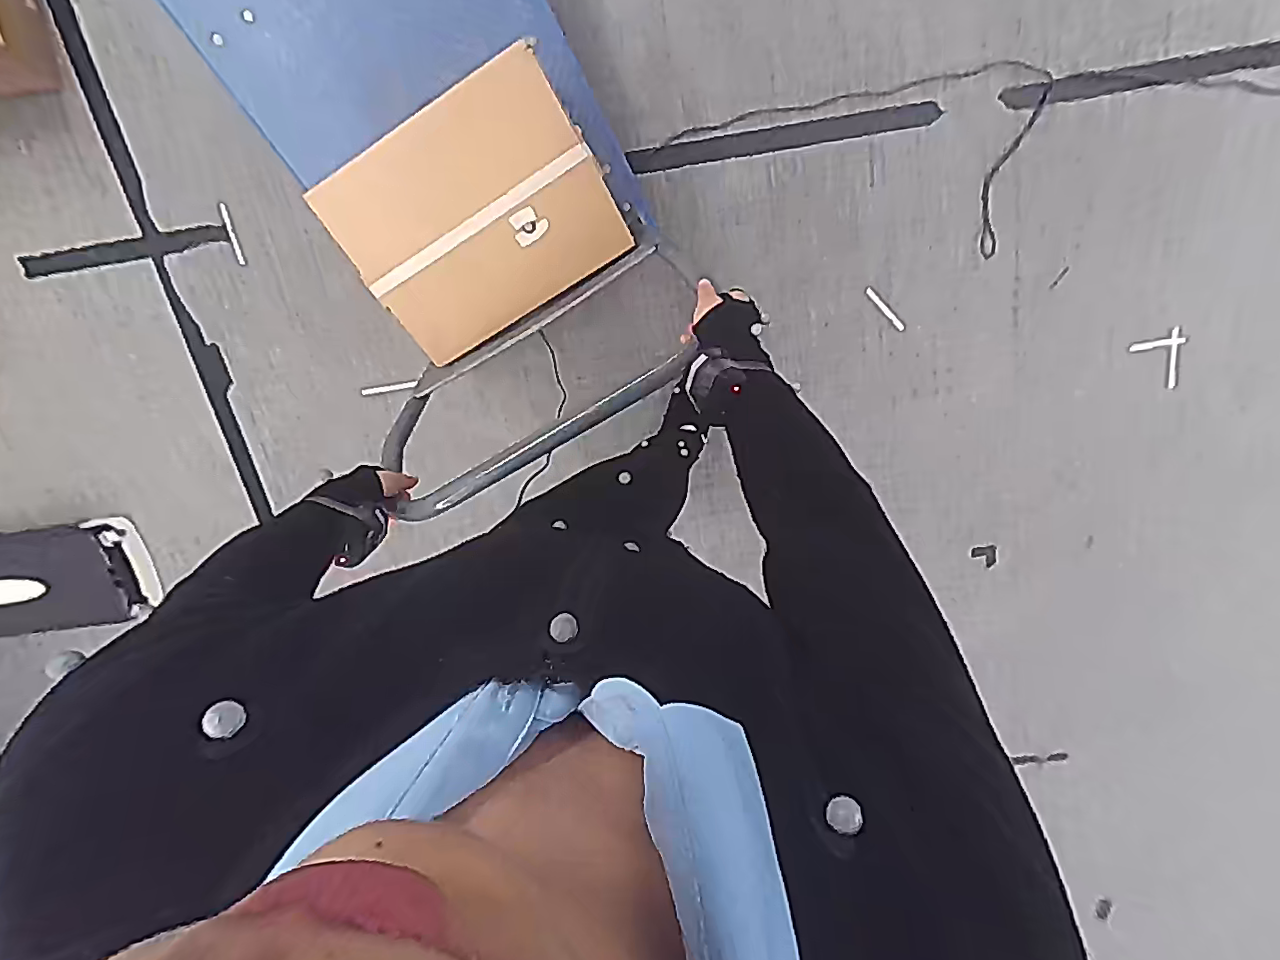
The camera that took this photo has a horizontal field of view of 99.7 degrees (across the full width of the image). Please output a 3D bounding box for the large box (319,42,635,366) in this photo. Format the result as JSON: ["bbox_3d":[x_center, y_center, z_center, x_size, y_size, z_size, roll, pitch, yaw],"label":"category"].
[{"bbox_3d":[-0.269,-0.476,0.992,0.408,0.320,0.320,-31,118,8],"label":"large box"}]
